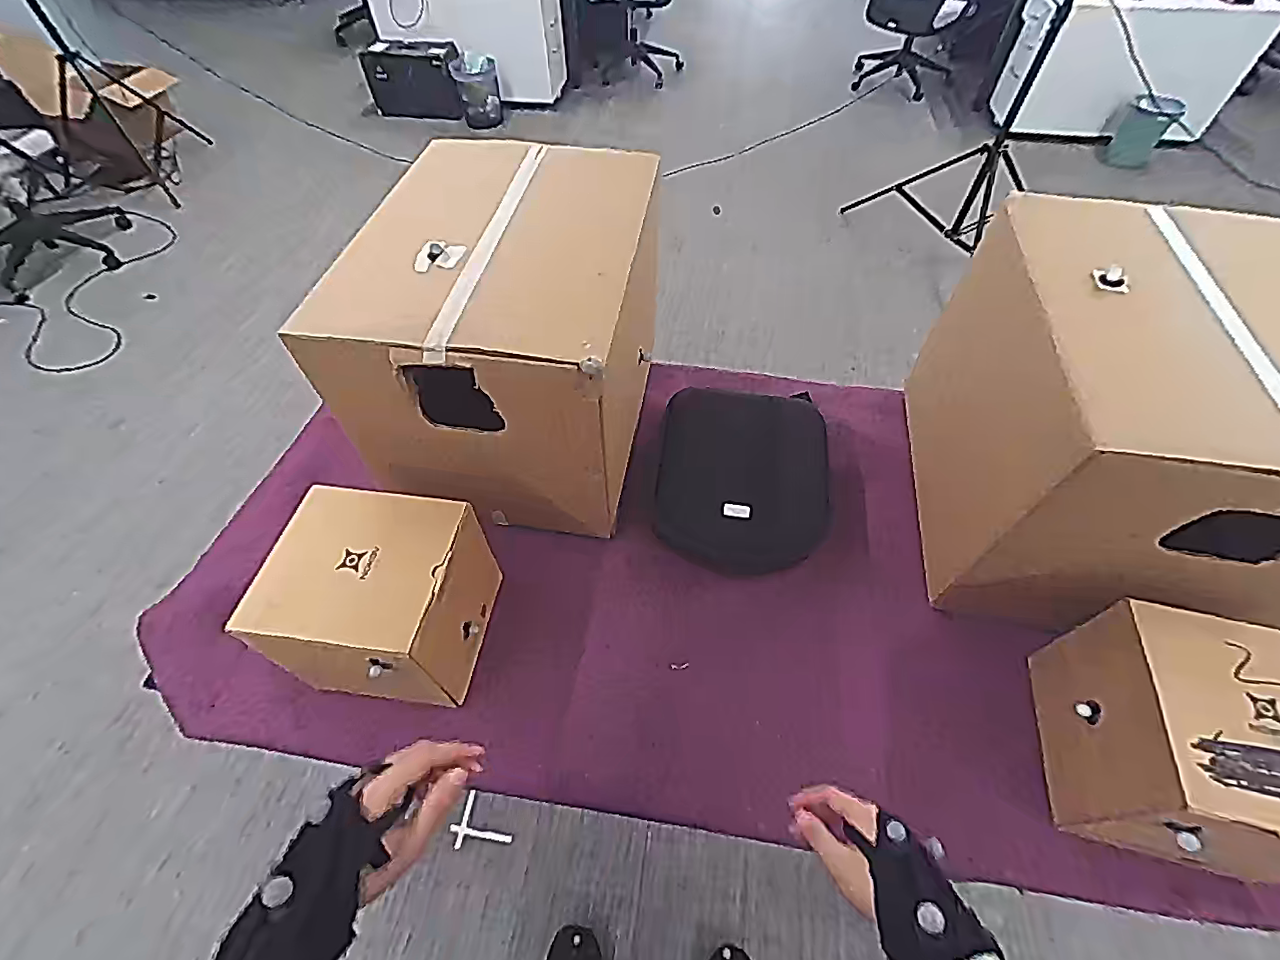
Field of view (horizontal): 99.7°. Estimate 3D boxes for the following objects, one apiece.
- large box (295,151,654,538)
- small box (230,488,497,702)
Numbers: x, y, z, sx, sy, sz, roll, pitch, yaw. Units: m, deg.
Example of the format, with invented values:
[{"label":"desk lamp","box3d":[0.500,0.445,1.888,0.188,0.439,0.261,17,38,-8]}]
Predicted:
[{"label":"large box","box3d":[-0.157,-0.181,0.733,0.320,0.320,0.408,6,56,5]},{"label":"small box","box3d":[-0.276,0.129,0.590,0.179,0.176,0.168,6,53,3]}]
